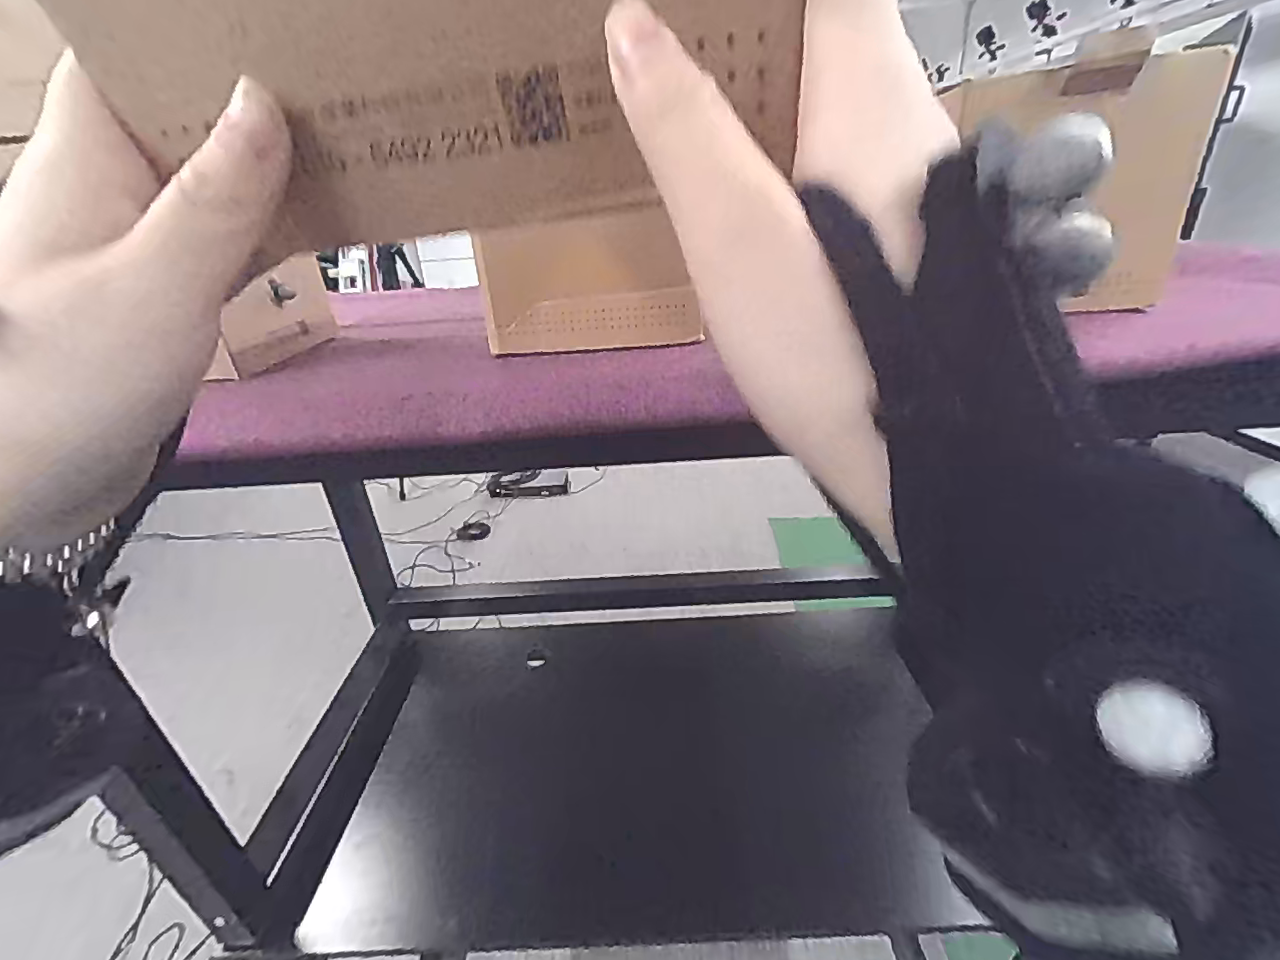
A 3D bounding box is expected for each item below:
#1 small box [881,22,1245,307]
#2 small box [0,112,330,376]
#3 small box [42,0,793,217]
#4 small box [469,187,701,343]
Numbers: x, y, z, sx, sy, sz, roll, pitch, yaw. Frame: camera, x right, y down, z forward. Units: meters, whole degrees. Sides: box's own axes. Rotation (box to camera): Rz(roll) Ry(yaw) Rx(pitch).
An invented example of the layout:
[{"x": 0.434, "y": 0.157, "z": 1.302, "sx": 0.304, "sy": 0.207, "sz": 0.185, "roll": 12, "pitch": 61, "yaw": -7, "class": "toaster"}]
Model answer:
[{"x": 0.318, "y": -0.245, "z": 0.458, "sx": 0.168, "sy": 0.176, "sz": 0.179, "roll": -2, "pitch": 26, "yaw": 8, "class": "small box"}, {"x": -0.405, "y": -0.190, "z": 0.452, "sx": 0.179, "sy": 0.176, "sz": 0.168, "roll": -3, "pitch": 29, "yaw": 0, "class": "small box"}, {"x": -0.050, "y": -0.182, "z": 0.142, "sx": 0.168, "sy": 0.176, "sz": 0.179, "roll": -3, "pitch": 44, "yaw": 7, "class": "small box"}, {"x": -0.043, "y": -0.218, "z": 0.465, "sx": 0.179, "sy": 0.176, "sz": 0.168, "roll": -3, "pitch": 26, "yaw": 1, "class": "small box"}]
